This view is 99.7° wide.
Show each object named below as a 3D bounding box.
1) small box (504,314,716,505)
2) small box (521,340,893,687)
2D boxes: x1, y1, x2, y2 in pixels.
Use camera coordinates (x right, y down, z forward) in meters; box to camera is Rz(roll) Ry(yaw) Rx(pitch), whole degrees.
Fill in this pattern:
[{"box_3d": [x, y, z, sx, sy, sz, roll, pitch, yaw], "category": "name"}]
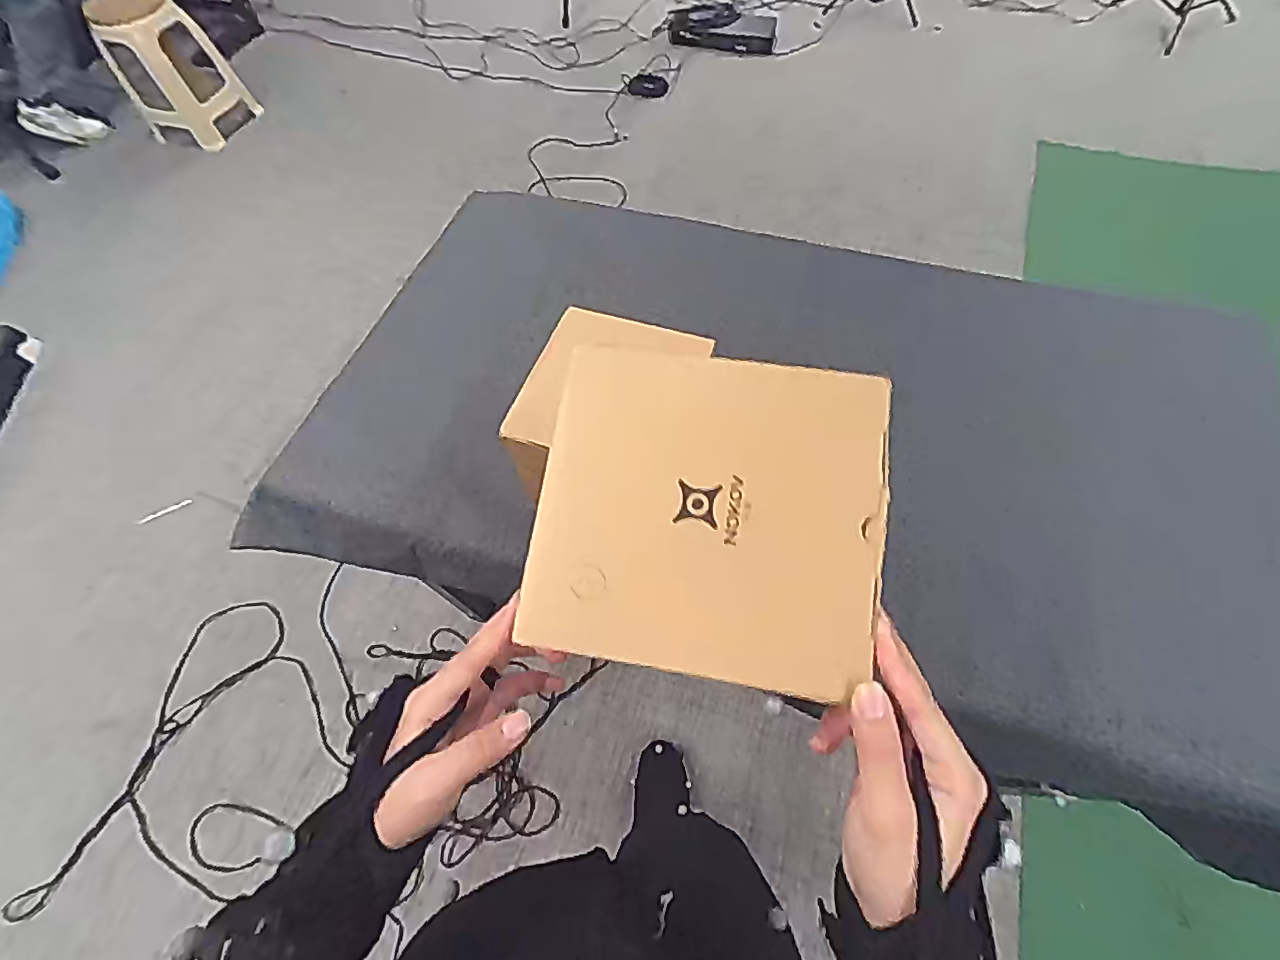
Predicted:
[{"box_3d": [-0.022, -0.047, 0.600, 0.168, 0.176, 0.179, 16, 62, 10], "category": "small box"}, {"box_3d": [0.044, 0.029, 0.355, 0.179, 0.176, 0.168, 7, 76, 6], "category": "small box"}]
